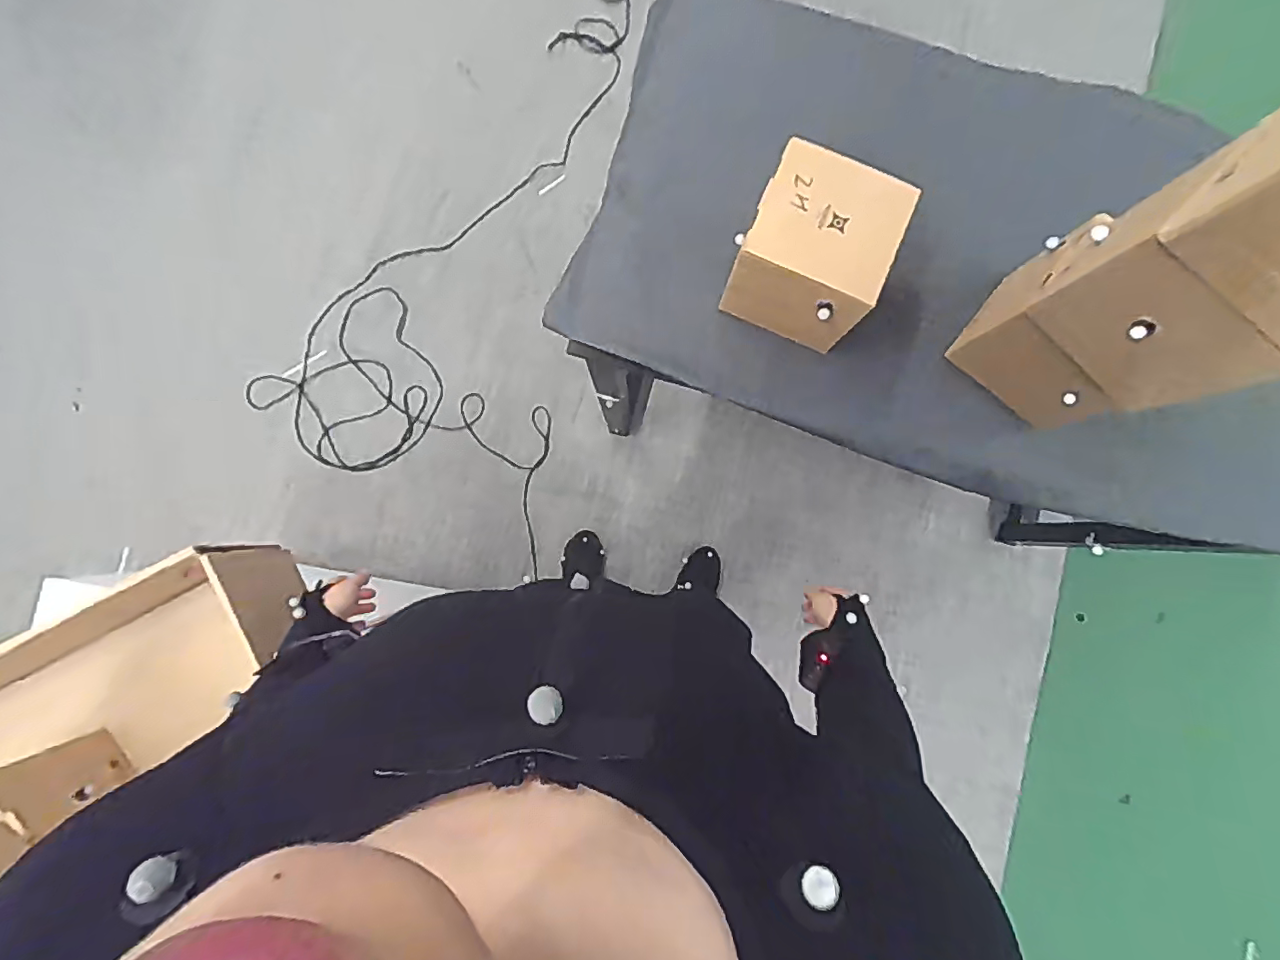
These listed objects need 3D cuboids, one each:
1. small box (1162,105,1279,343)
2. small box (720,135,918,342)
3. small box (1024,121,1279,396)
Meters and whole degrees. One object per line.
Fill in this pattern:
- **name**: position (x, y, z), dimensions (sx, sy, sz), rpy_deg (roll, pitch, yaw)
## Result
- **small box**: position (0.562, -0.223, 0.395), dimensions (0.179, 0.176, 0.168), rpy_deg (44, 85, 3)
- **small box**: position (0.227, -0.307, 0.730), dimensions (0.179, 0.176, 0.168), rpy_deg (24, 84, 2)
- **small box**: position (0.563, -0.206, 0.557), dimensions (0.168, 0.176, 0.179), rpy_deg (-43, 86, -5)
